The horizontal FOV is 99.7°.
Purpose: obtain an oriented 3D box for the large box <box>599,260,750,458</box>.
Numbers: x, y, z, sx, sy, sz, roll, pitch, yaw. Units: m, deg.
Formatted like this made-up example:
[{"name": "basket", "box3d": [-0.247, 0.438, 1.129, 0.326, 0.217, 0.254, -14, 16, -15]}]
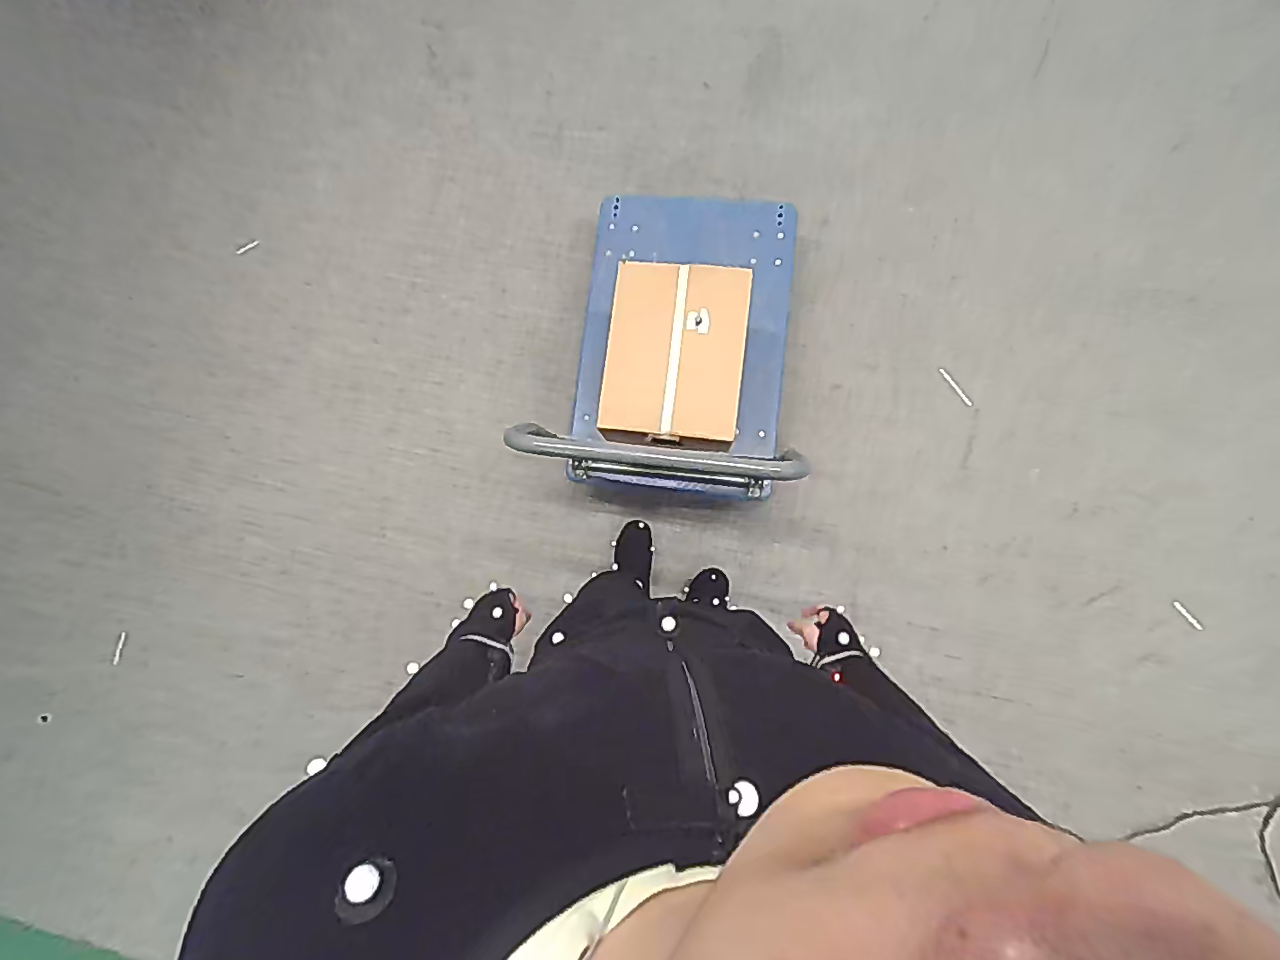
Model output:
[{"name": "large box", "box3d": [0.095, -0.284, 1.365, 0.320, 0.320, 0.408, 6, 83, 6]}]
